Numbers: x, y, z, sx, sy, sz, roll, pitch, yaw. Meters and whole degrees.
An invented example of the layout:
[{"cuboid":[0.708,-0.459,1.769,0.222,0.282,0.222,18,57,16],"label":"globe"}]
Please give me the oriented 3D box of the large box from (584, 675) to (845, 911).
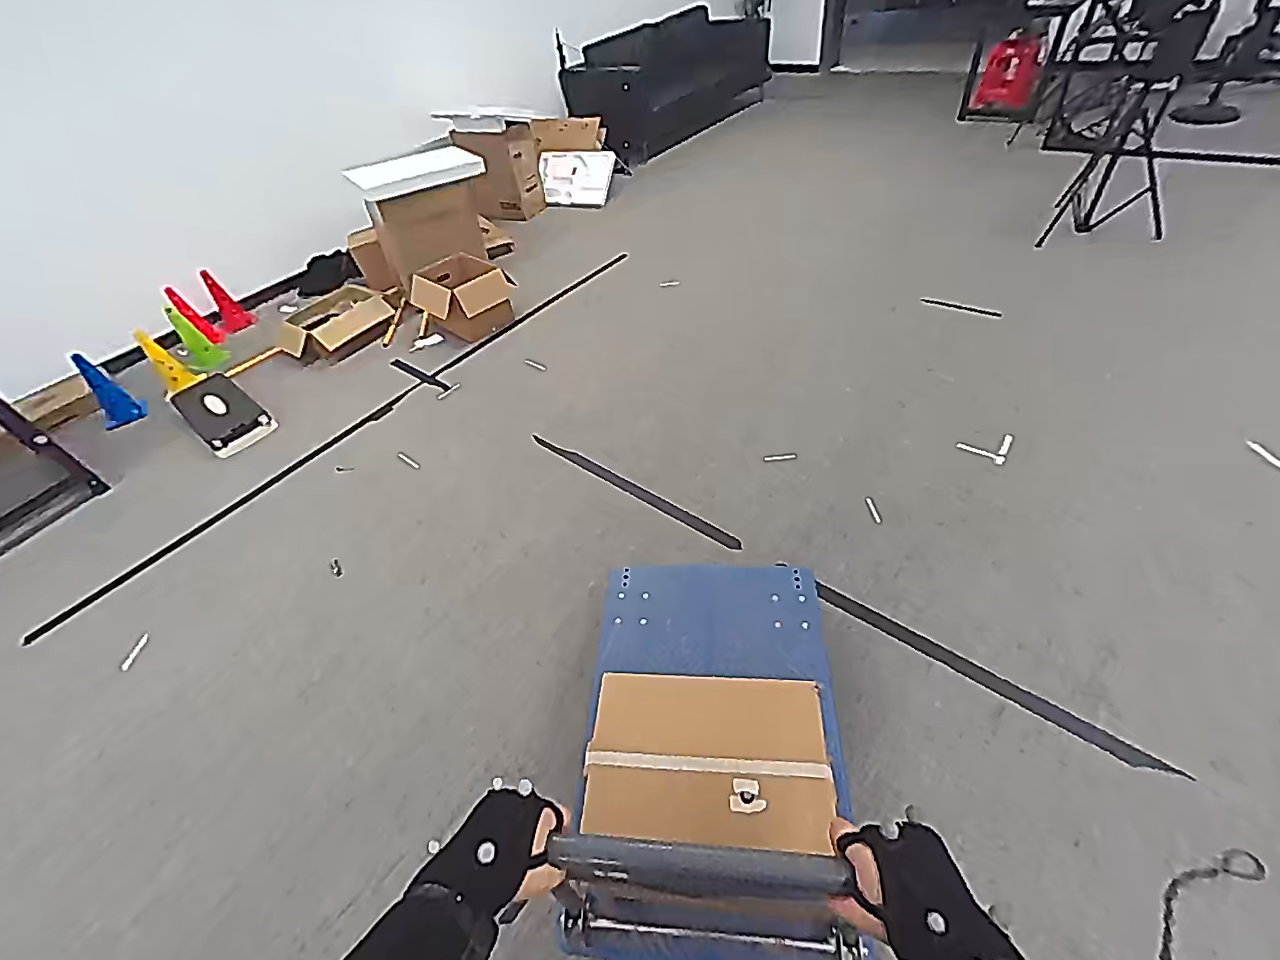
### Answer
[{"cuboid":[0.131,0.590,1.027,0.408,0.320,0.320,0,46,7],"label":"large box"}]
